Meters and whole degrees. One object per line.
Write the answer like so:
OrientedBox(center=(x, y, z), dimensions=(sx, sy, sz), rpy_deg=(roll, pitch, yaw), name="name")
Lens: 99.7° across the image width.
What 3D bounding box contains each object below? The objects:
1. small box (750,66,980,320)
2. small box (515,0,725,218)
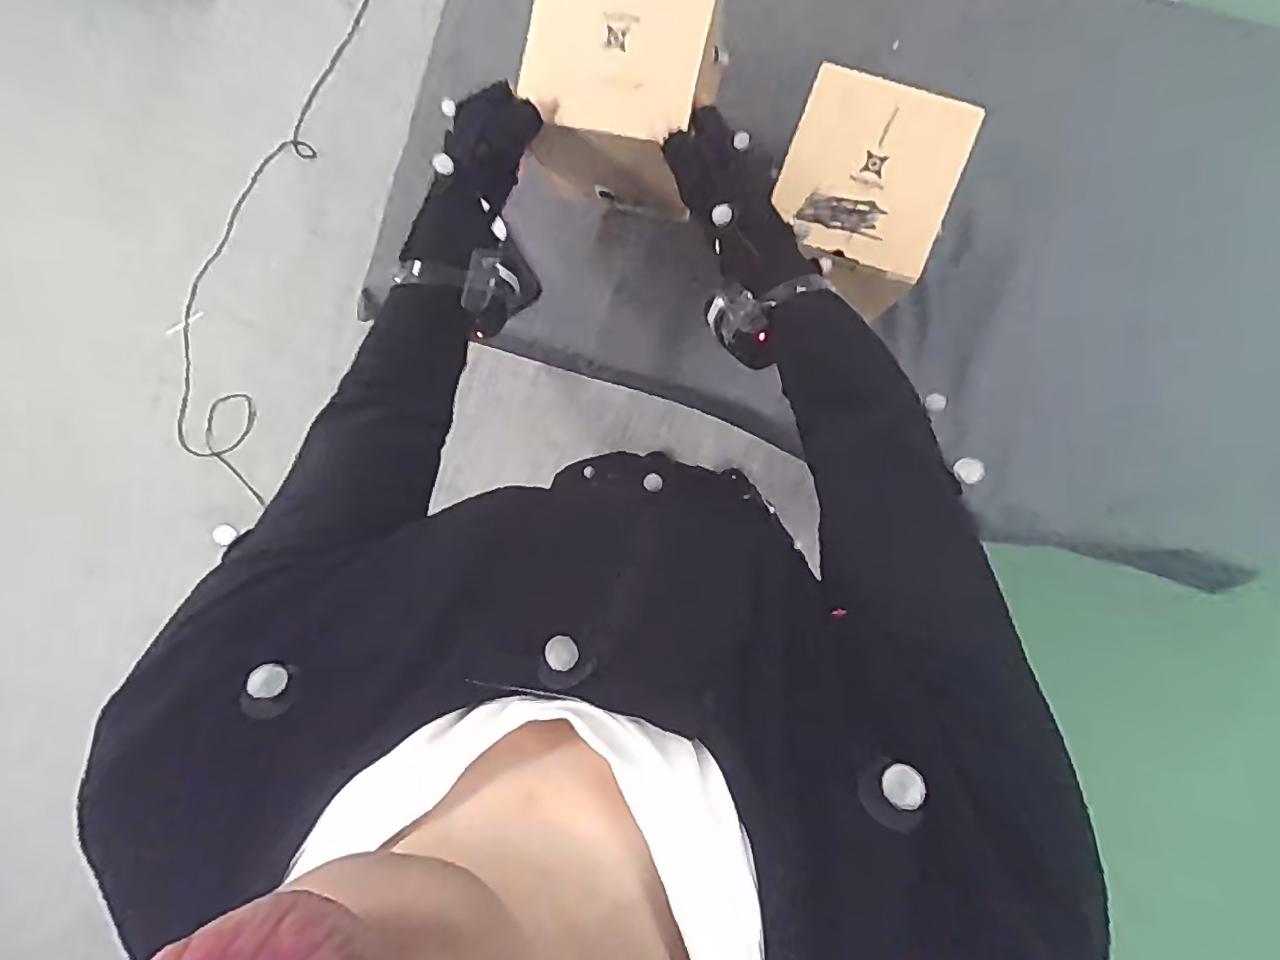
OrientedBox(center=(0.231, -0.303, 0.611), dimensions=(0.168, 0.176, 0.179), rpy_deg=(21, 93, 5), name="small box")
OrientedBox(center=(-0.010, -0.406, 0.563), dimensions=(0.168, 0.176, 0.179), rpy_deg=(12, 94, 7), name="small box")
